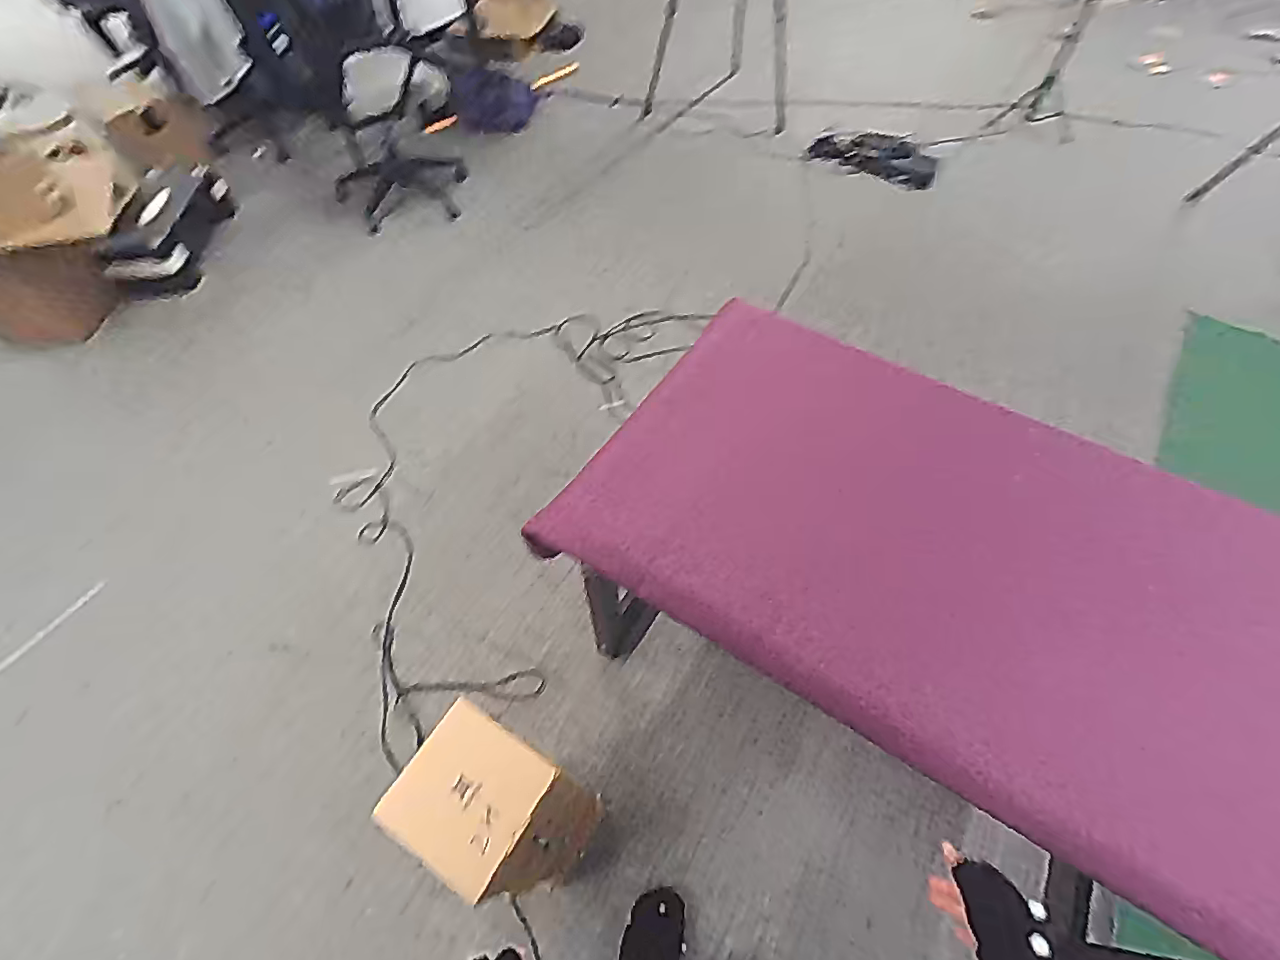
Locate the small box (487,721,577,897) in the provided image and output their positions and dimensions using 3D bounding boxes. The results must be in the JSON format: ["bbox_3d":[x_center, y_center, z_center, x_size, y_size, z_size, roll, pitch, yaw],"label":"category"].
[{"bbox_3d":[-0.218,0.532,0.888,0.168,0.176,0.179,28,62,18],"label":"small box"}]

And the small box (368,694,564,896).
[{"bbox_3d":[-0.228,0.435,0.756,0.179,0.176,0.168,28,62,17],"label":"small box"}]
